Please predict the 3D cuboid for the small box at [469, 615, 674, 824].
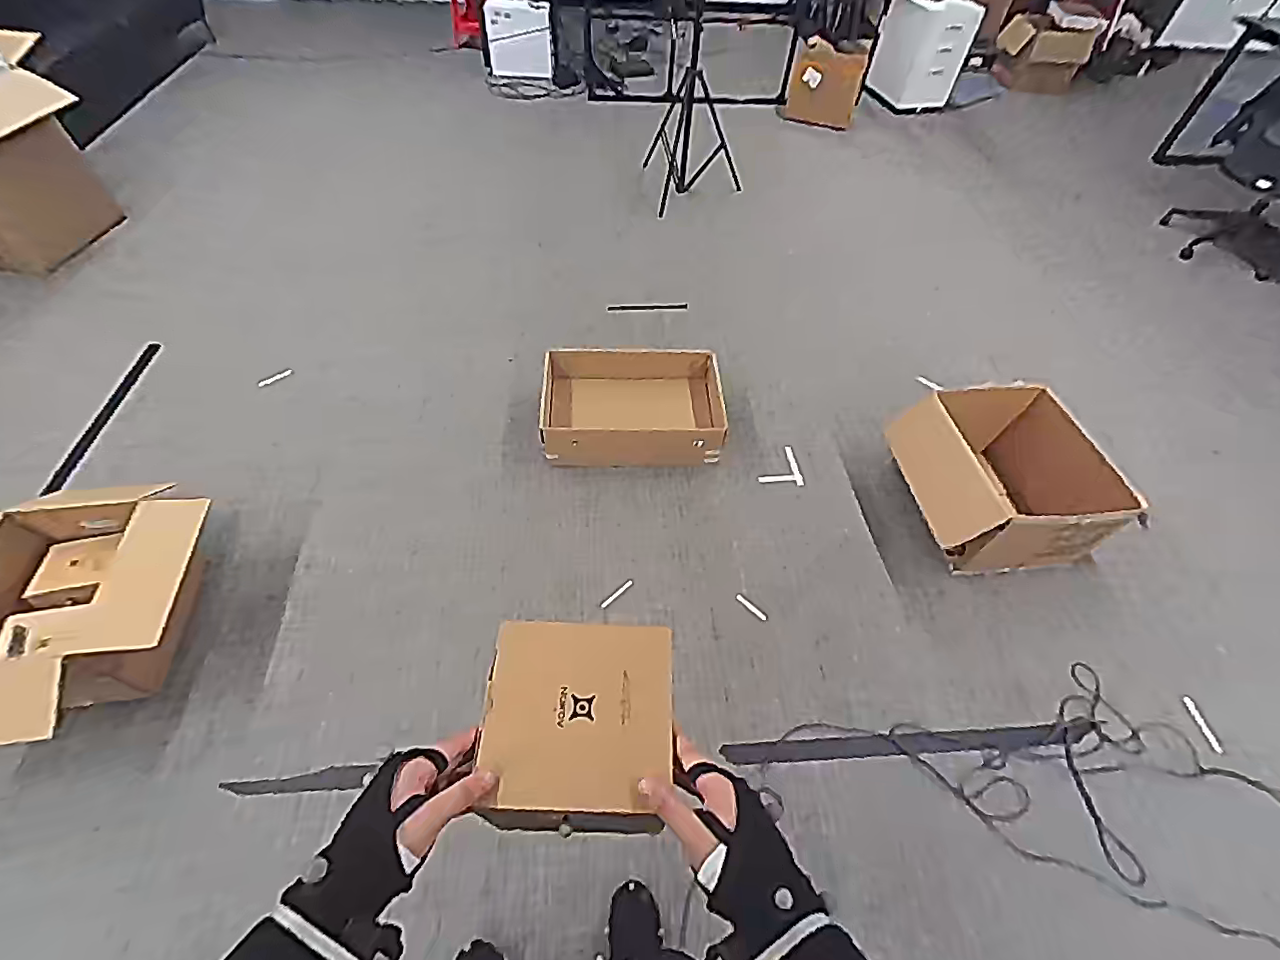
[{"bbox_3d":[-0.059,0.254,0.565,0.179,0.176,0.168,2,52,-2],"label":"small box"}]
